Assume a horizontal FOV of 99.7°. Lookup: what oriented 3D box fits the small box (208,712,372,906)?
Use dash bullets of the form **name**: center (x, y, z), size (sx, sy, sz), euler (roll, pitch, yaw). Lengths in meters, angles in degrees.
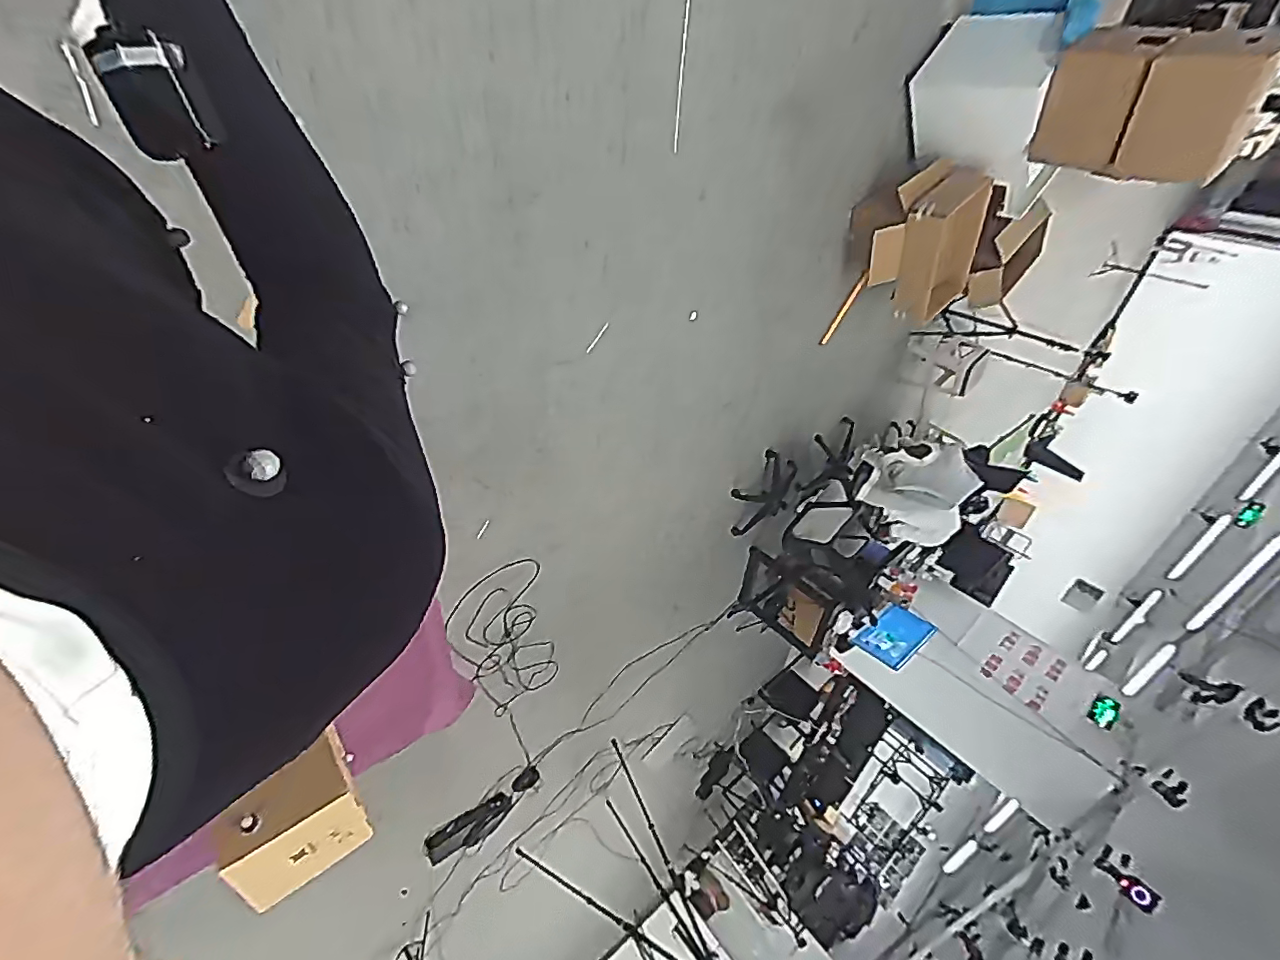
- **small box**: center (-0.573, 0.528, 0.885), size (0.179, 0.176, 0.168), euler (-25, 136, -34)
